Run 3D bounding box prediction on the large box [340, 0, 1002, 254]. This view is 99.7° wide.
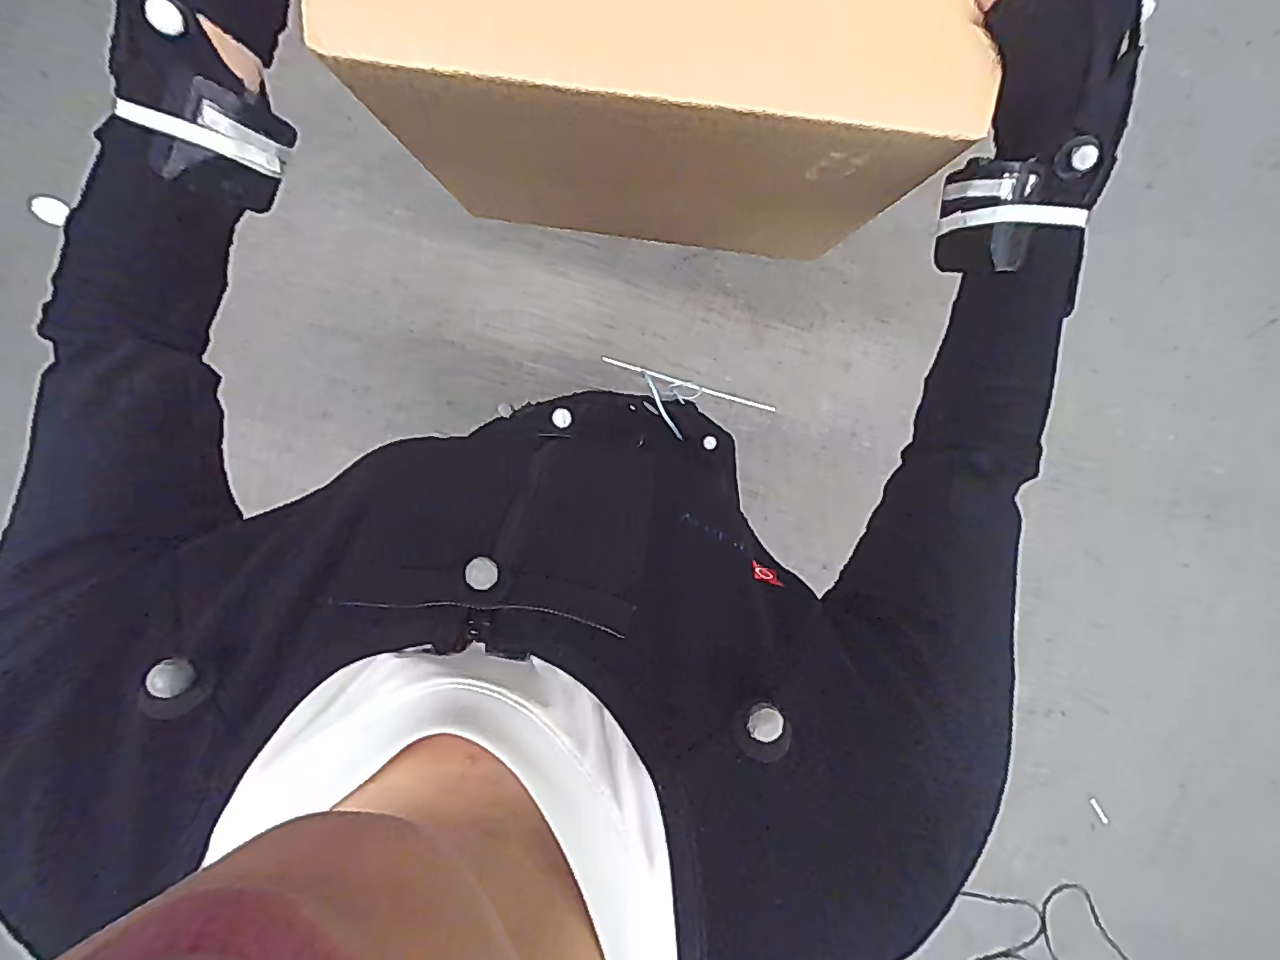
[{"bbox_3d":[0.025,-0.406,0.456,0.408,0.320,0.320,6,100,-2],"label":"large box"}]
